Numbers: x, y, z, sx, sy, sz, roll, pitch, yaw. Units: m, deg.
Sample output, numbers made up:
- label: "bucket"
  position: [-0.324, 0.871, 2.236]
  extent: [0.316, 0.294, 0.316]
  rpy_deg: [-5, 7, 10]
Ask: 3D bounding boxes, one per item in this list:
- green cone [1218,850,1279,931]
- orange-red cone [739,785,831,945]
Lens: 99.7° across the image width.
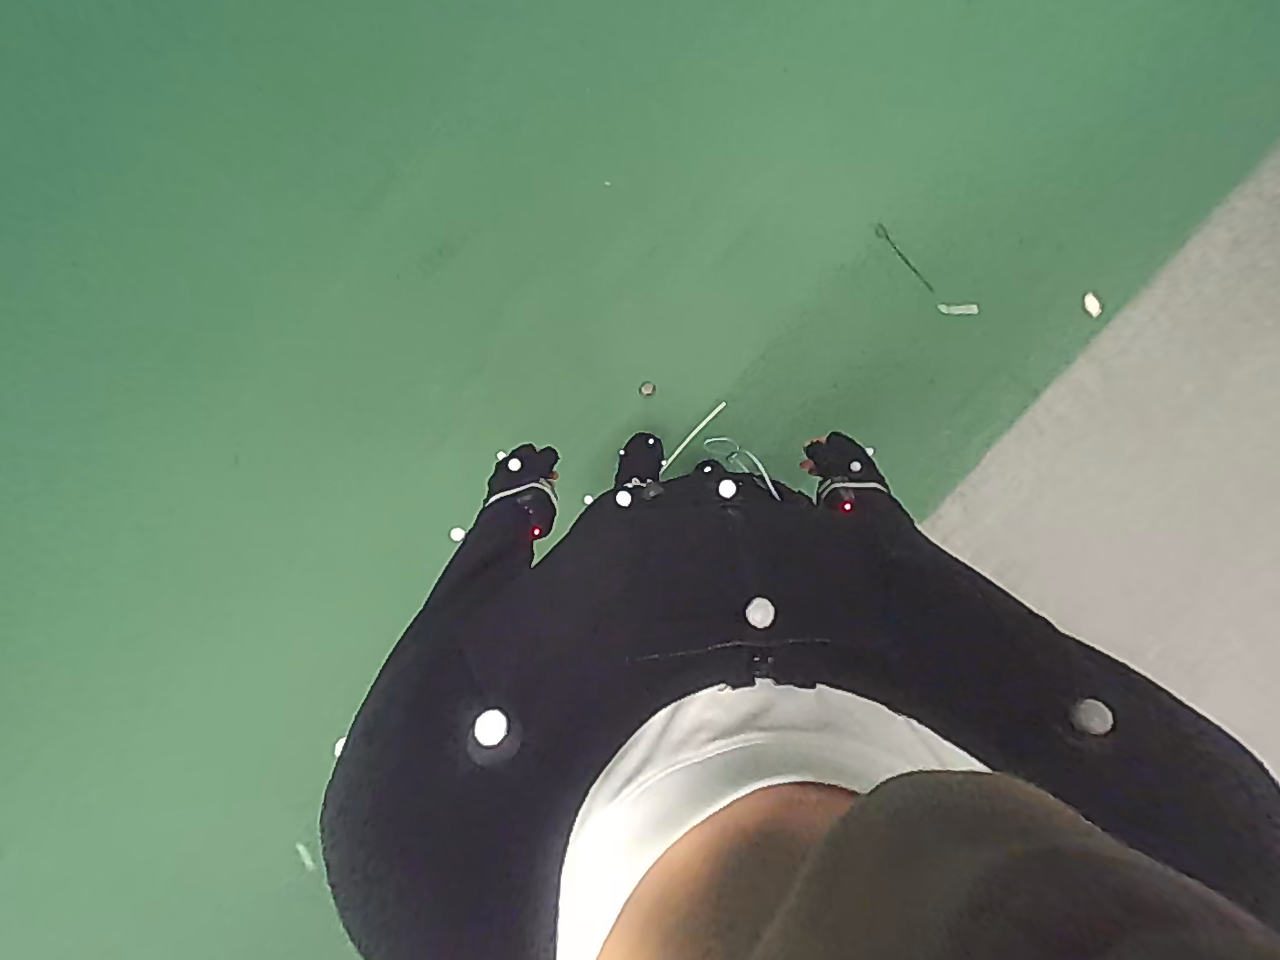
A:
- label: "green cone"
  position: [1.852, 1.239, 1.442]
  extent: [0.200, 0.368, 0.202]
  rpy_deg: [39, 95, -3]
- label: "orange-red cone"
  position: [0.415, 1.020, 1.400]
  extent: [0.199, 0.360, 0.198]
  rpy_deg: [41, 94, -5]
